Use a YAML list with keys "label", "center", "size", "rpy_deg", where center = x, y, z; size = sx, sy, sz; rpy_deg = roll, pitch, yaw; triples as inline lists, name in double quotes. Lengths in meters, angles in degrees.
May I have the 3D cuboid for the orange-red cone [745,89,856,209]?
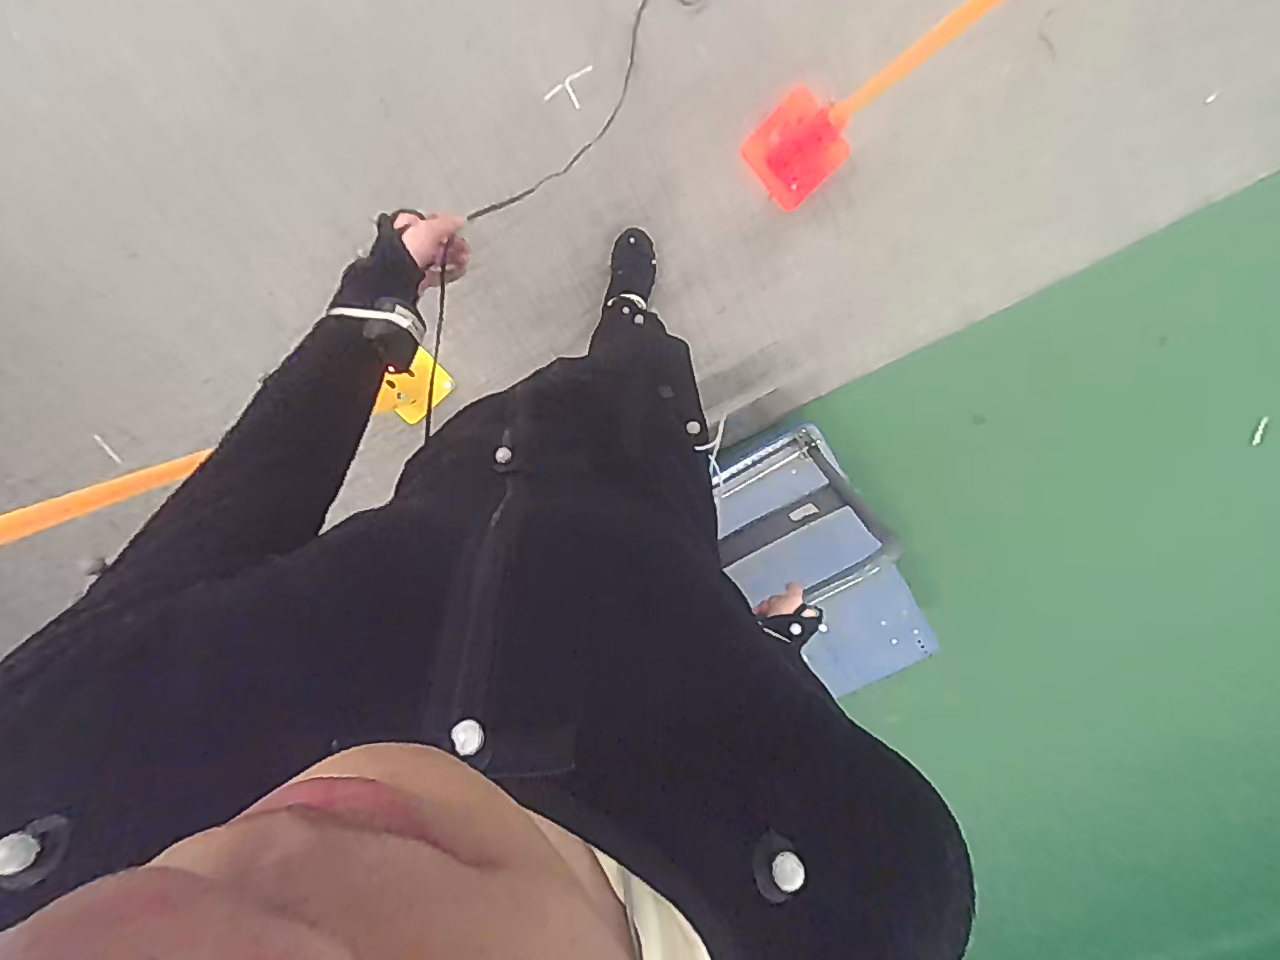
- label: "orange-red cone"
  center: [0.380, -0.732, 1.150]
  size: [0.199, 0.360, 0.198]
  rpy_deg: [-41, 106, 15]
